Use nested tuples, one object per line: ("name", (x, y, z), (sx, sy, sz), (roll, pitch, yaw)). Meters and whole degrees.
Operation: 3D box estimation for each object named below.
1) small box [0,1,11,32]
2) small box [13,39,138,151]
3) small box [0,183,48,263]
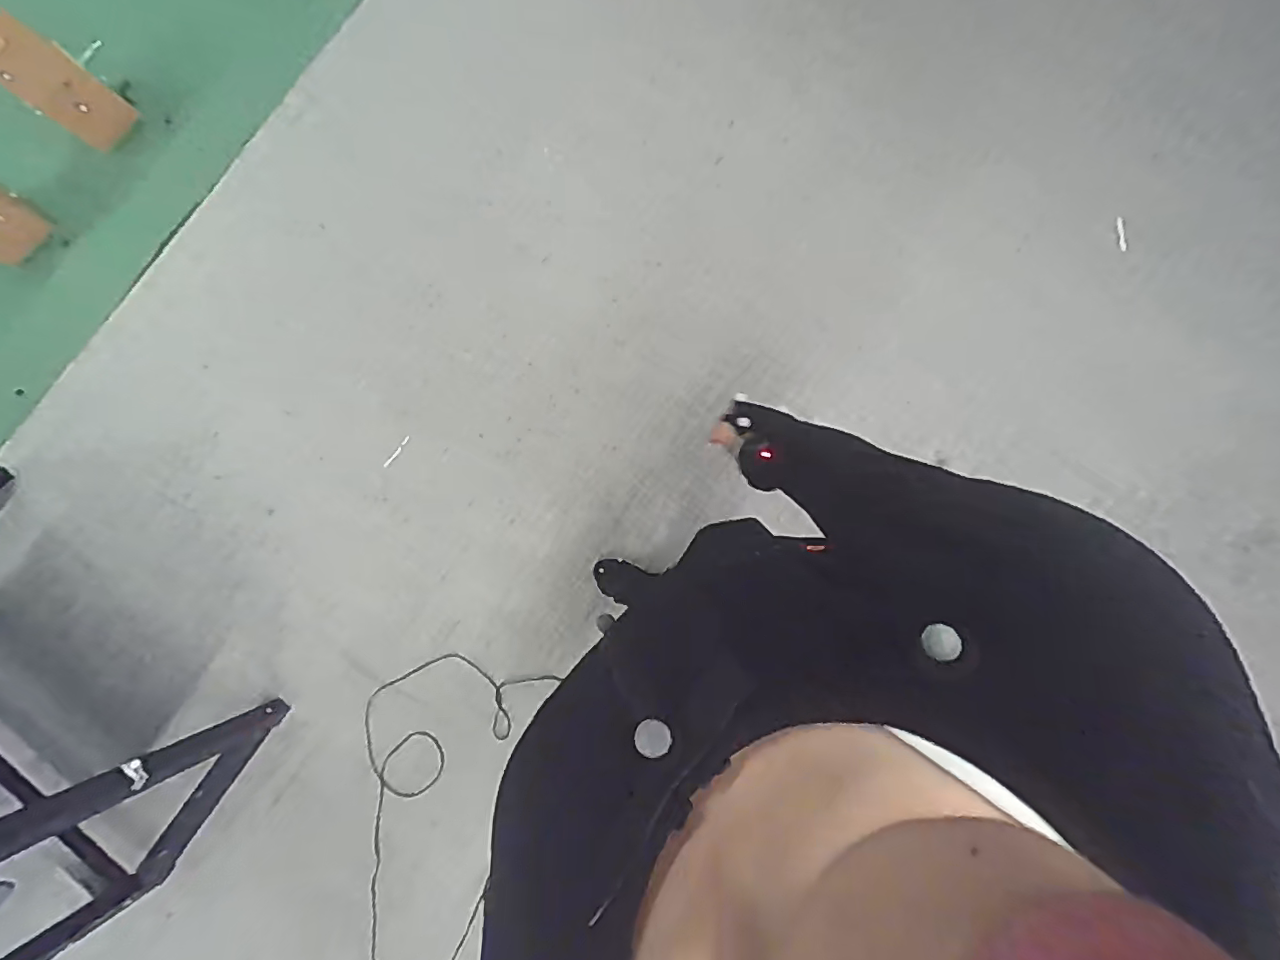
("small box", (-1.708, -1.175, 1.302), (0.168, 0.176, 0.179), (39, 88, 6))
("small box", (-1.684, -1.151, 1.628), (0.168, 0.176, 0.179), (40, 88, 5))
("small box", (-1.939, -0.791, 1.604), (0.168, 0.176, 0.179), (42, 88, 6))
